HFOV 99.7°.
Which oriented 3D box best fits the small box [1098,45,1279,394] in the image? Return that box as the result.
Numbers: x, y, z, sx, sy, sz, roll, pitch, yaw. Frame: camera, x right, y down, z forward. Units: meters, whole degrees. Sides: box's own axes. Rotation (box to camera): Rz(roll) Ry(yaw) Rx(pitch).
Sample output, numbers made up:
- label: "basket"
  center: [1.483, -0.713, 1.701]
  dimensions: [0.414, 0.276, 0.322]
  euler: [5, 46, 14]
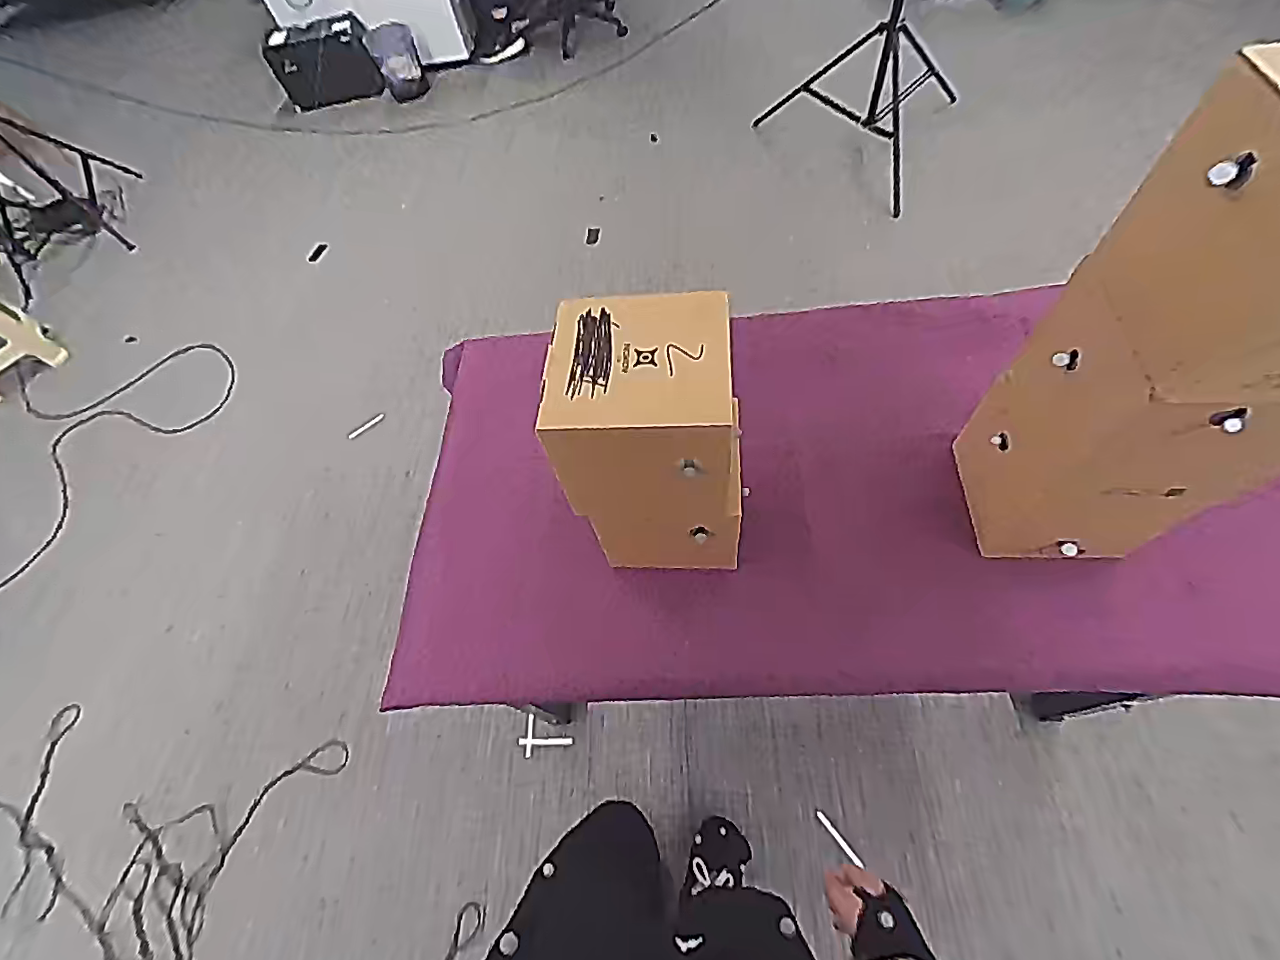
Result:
- label: "small box"
  center: [0.476, -0.171, 0.374]
  dimensions: [0.168, 0.176, 0.179]
  euler: [0, 60, 9]

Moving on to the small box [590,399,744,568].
- label: "small box"
  center: [0.043, 0.010, 0.713]
  dimensions: [0.179, 0.176, 0.168]
  euler: [-1, 59, 8]

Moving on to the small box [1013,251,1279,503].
- label: "small box"
  center: [0.496, -0.096, 0.517]
  dimensions: [0.168, 0.176, 0.179]
  euler: [1, 59, 10]

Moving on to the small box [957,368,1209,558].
- label: "small box"
  center: [0.517, -0.018, 0.660]
  dimensions: [0.168, 0.176, 0.179]
  euler: [-1, 60, 8]
